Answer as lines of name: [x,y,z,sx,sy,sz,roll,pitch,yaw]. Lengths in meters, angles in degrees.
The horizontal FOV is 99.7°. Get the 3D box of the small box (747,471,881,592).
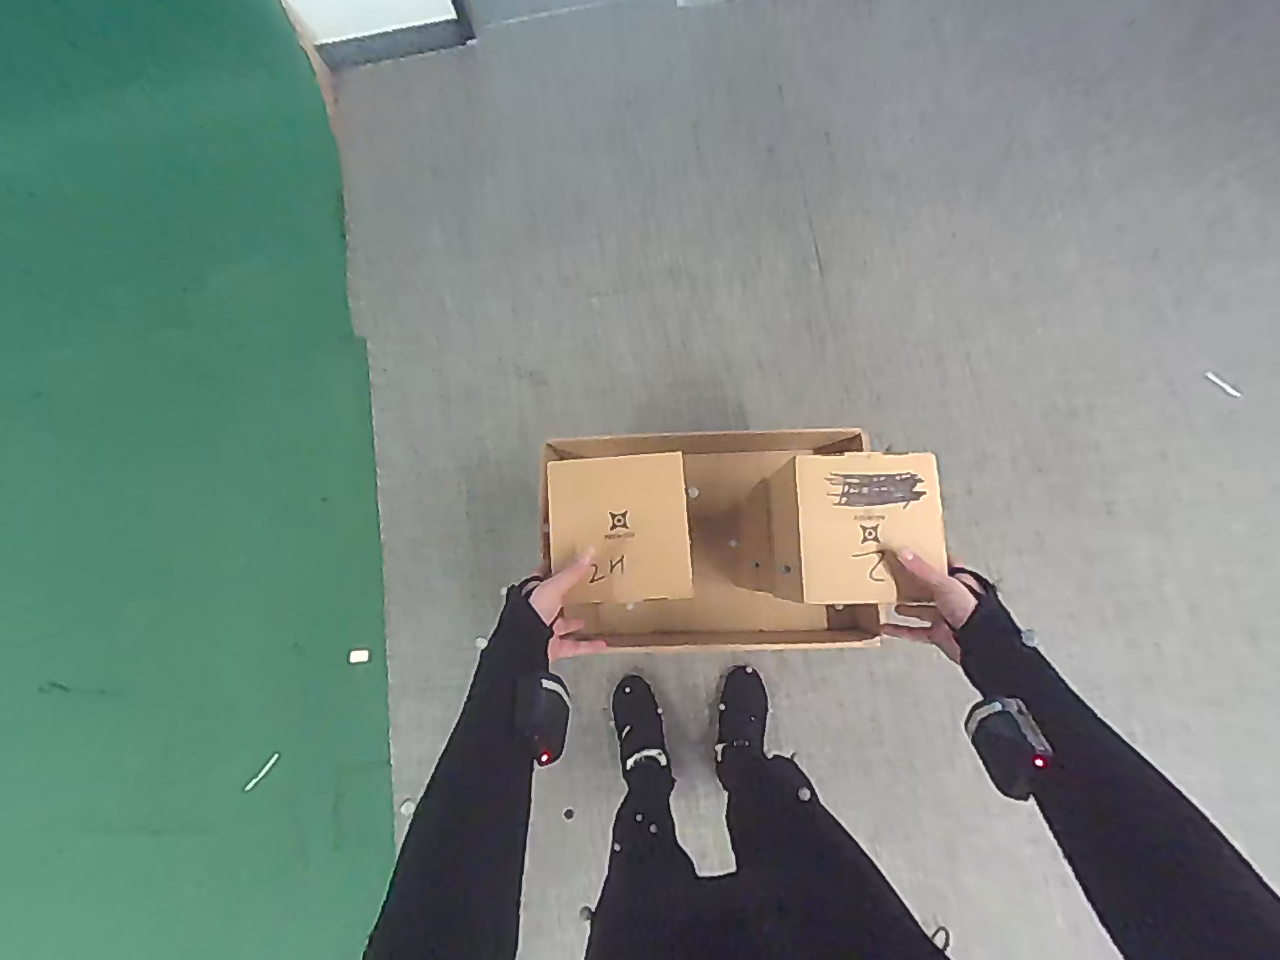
small box: [0.267,0.086,0.863,0.168,0.176,0.179,-1,79,3]

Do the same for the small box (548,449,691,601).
small box: [-0.023,0.065,0.720,0.168,0.176,0.179,-4,81,3]
